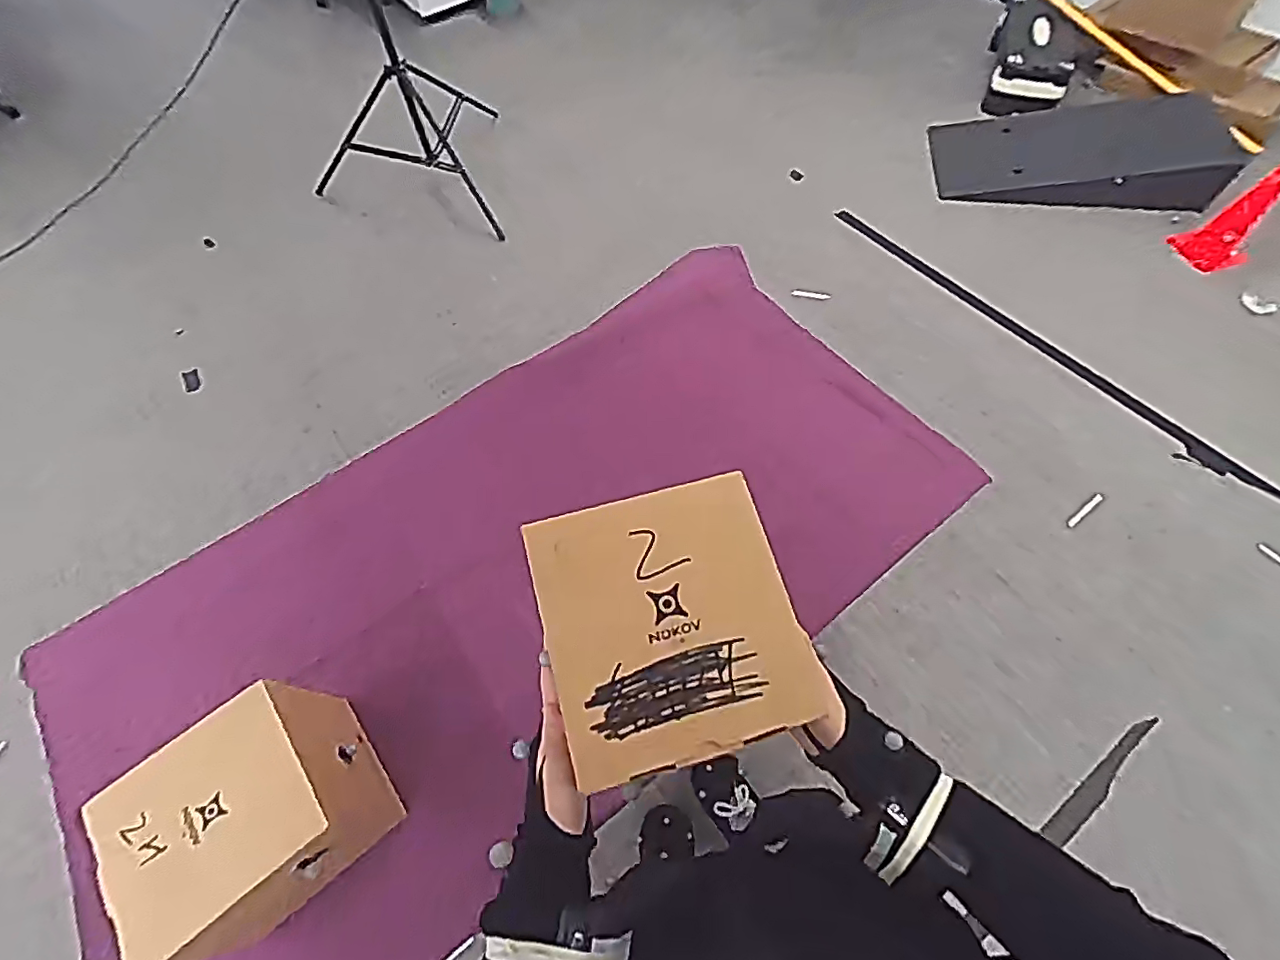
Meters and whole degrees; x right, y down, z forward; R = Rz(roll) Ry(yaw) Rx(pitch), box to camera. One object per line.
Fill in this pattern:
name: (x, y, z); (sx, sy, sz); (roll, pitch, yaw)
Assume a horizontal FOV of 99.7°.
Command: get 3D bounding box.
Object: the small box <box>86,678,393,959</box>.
small box: (-0.385, 0.337, 0.556); (0.179, 0.176, 0.168); (-37, 65, -16)
